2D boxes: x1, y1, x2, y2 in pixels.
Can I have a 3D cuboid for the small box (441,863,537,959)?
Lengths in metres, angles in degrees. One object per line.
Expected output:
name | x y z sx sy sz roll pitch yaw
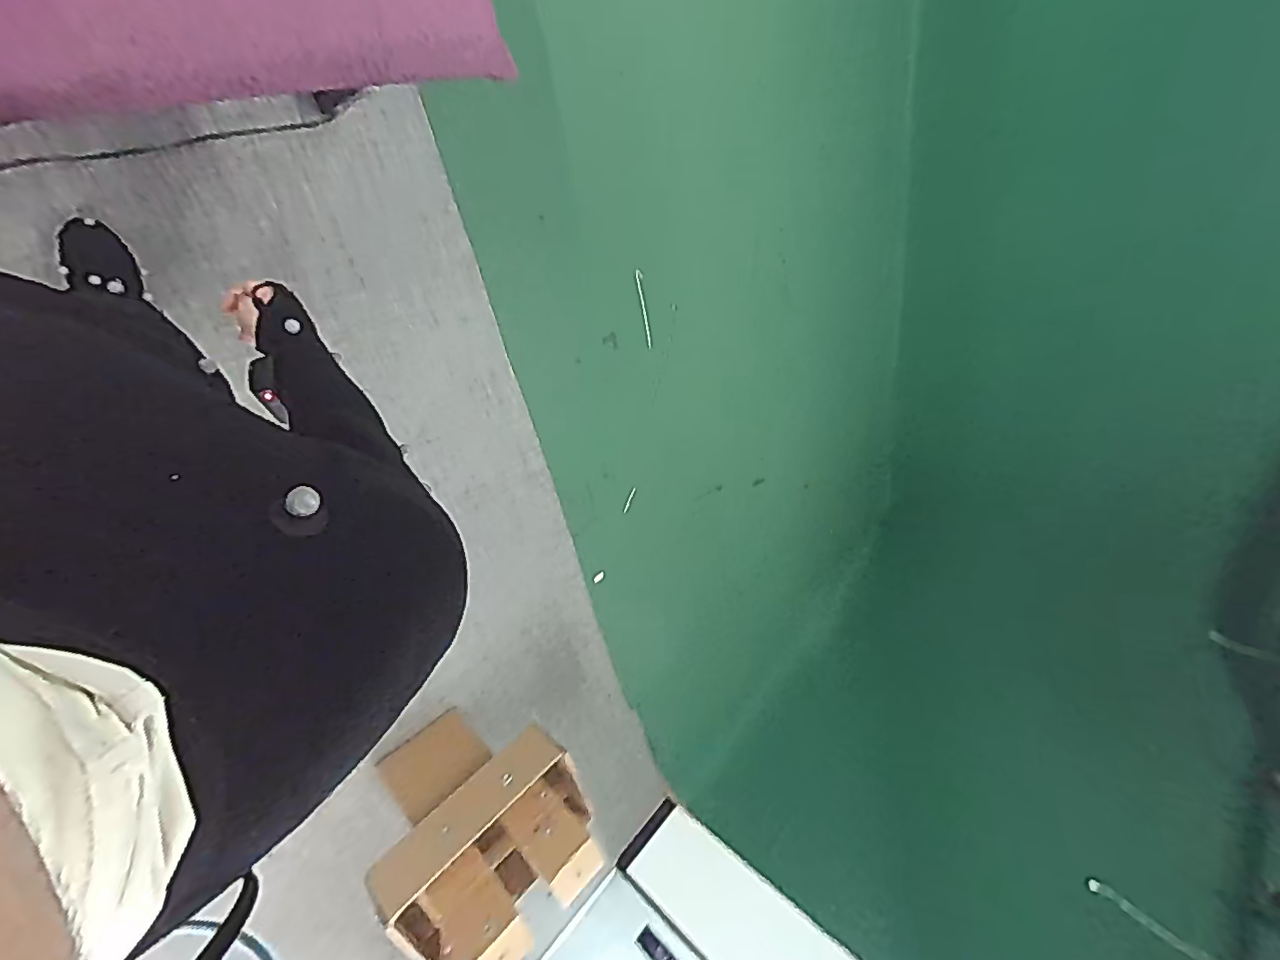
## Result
small box | -0.424 1.240 1.523 0.179 0.176 0.168 -33 125 -33

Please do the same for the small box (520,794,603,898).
small box | -0.241 1.116 1.662 0.168 0.176 0.179 -35 128 -33
